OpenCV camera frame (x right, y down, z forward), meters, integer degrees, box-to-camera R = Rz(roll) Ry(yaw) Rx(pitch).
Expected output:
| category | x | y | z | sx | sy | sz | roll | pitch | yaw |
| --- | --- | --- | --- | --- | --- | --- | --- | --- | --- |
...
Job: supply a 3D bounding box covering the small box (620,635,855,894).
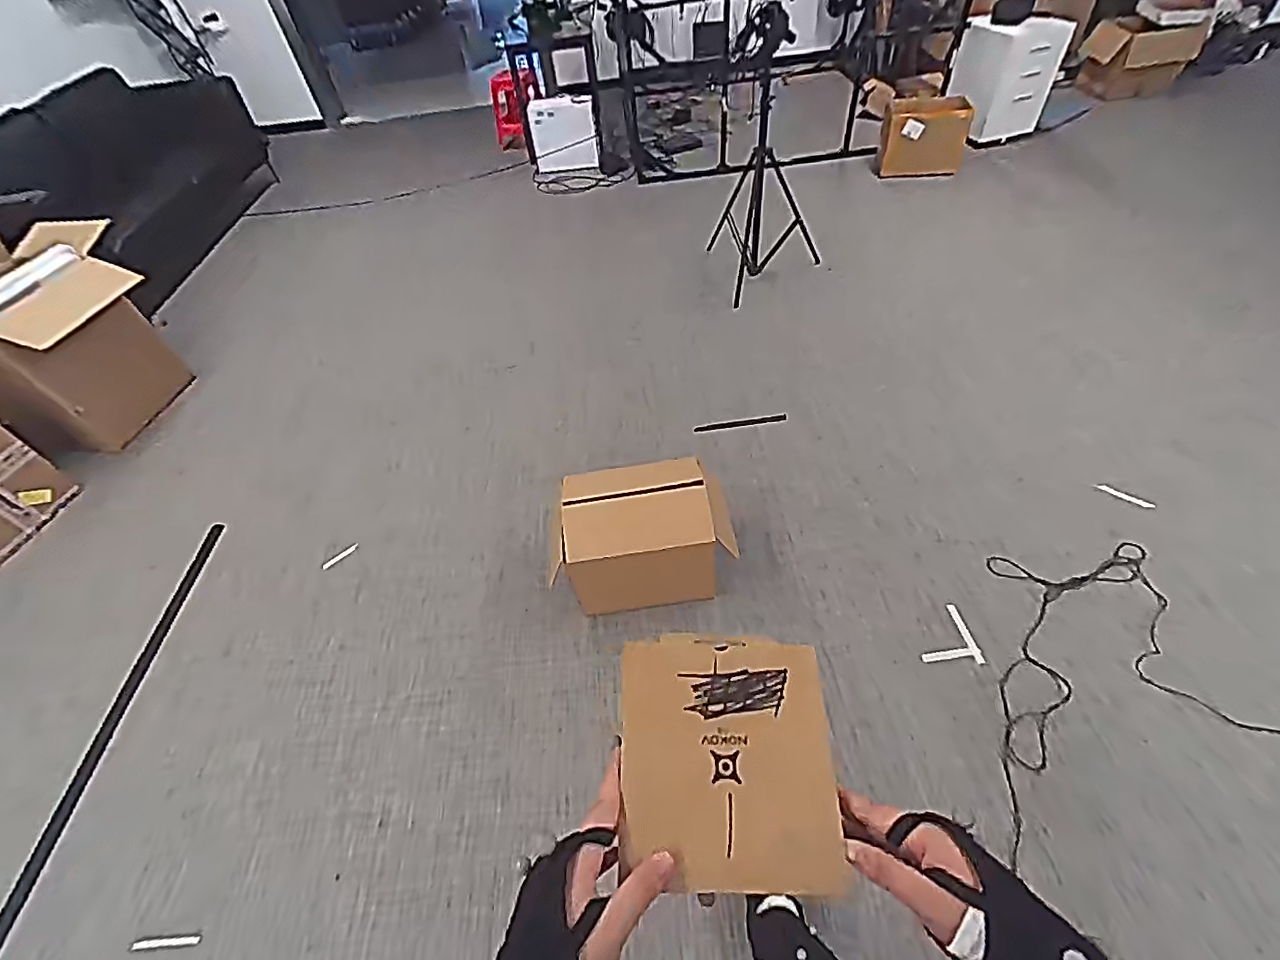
| category | x | y | z | sx | sy | sz | roll | pitch | yaw |
| --- | --- | --- | --- | --- | --- | --- | --- | --- | --- |
| small box | 0.068 | 0.252 | 0.484 | 0.168 | 0.176 | 0.179 | 2 | 58 | 0 |
